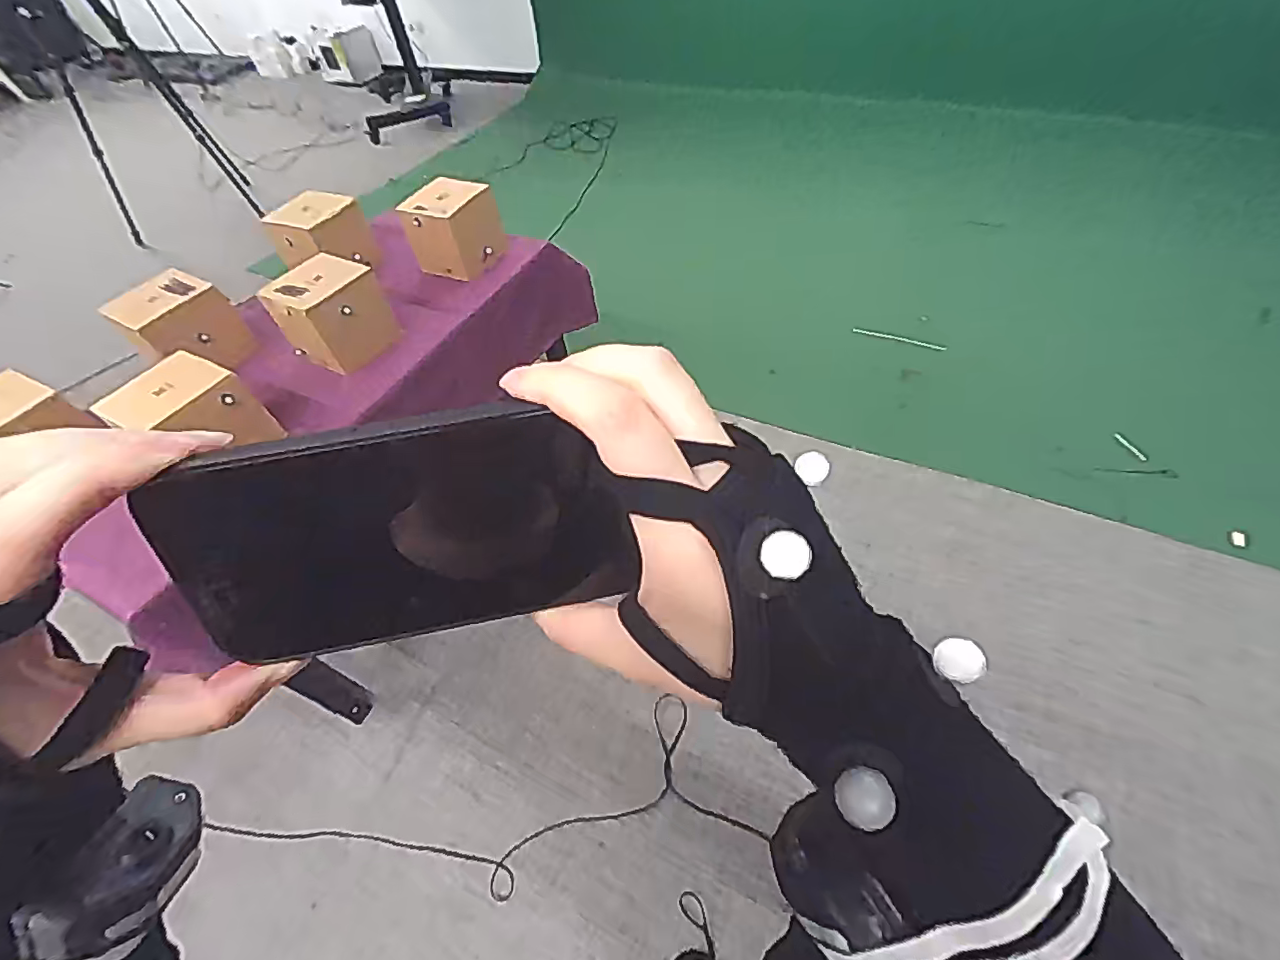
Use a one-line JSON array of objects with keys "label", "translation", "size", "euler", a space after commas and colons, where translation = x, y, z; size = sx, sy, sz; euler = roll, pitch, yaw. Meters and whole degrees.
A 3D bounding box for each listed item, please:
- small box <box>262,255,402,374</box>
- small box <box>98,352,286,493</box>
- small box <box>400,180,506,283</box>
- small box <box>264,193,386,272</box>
[{"label": "small box", "translation": [-0.665, -0.362, 1.191], "size": [0.168, 0.176, 0.179], "euler": [23, 57, 22]}, {"label": "small box", "translation": [-0.815, -0.103, 1.004], "size": [0.168, 0.176, 0.179], "euler": [21, 56, 21]}, {"label": "small box", "translation": [-0.466, -0.637, 1.385], "size": [0.168, 0.176, 0.179], "euler": [19, 56, 20]}, {"label": "small box", "translation": [-0.810, -0.619, 1.408], "size": [0.179, 0.176, 0.168], "euler": [18, 56, 19]}]
